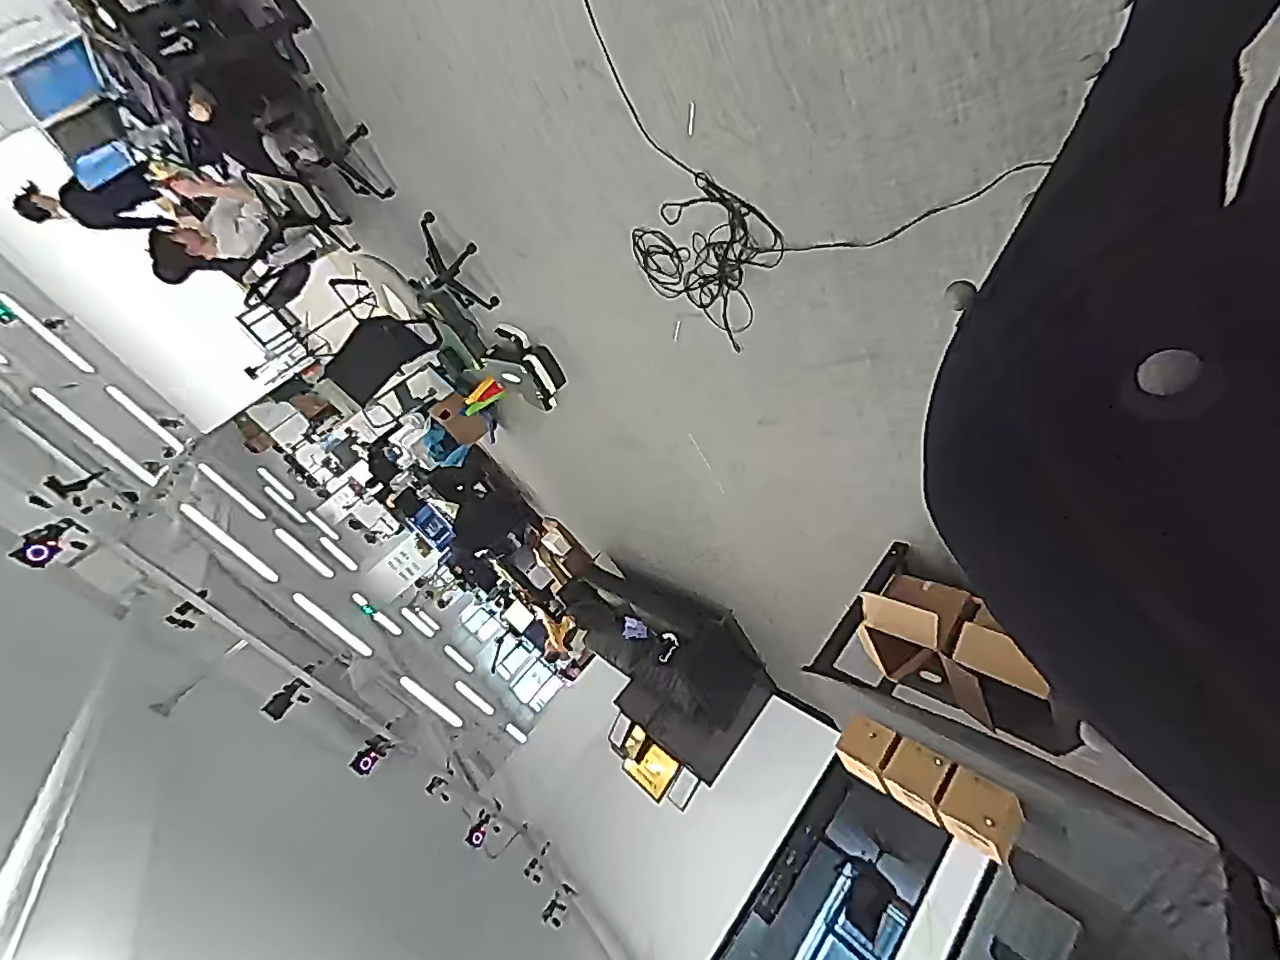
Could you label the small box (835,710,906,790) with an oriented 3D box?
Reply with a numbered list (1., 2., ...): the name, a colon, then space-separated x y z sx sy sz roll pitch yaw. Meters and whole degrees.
1. small box: 0.869 1.006 2.025 0.168 0.176 0.179 14 143 52
